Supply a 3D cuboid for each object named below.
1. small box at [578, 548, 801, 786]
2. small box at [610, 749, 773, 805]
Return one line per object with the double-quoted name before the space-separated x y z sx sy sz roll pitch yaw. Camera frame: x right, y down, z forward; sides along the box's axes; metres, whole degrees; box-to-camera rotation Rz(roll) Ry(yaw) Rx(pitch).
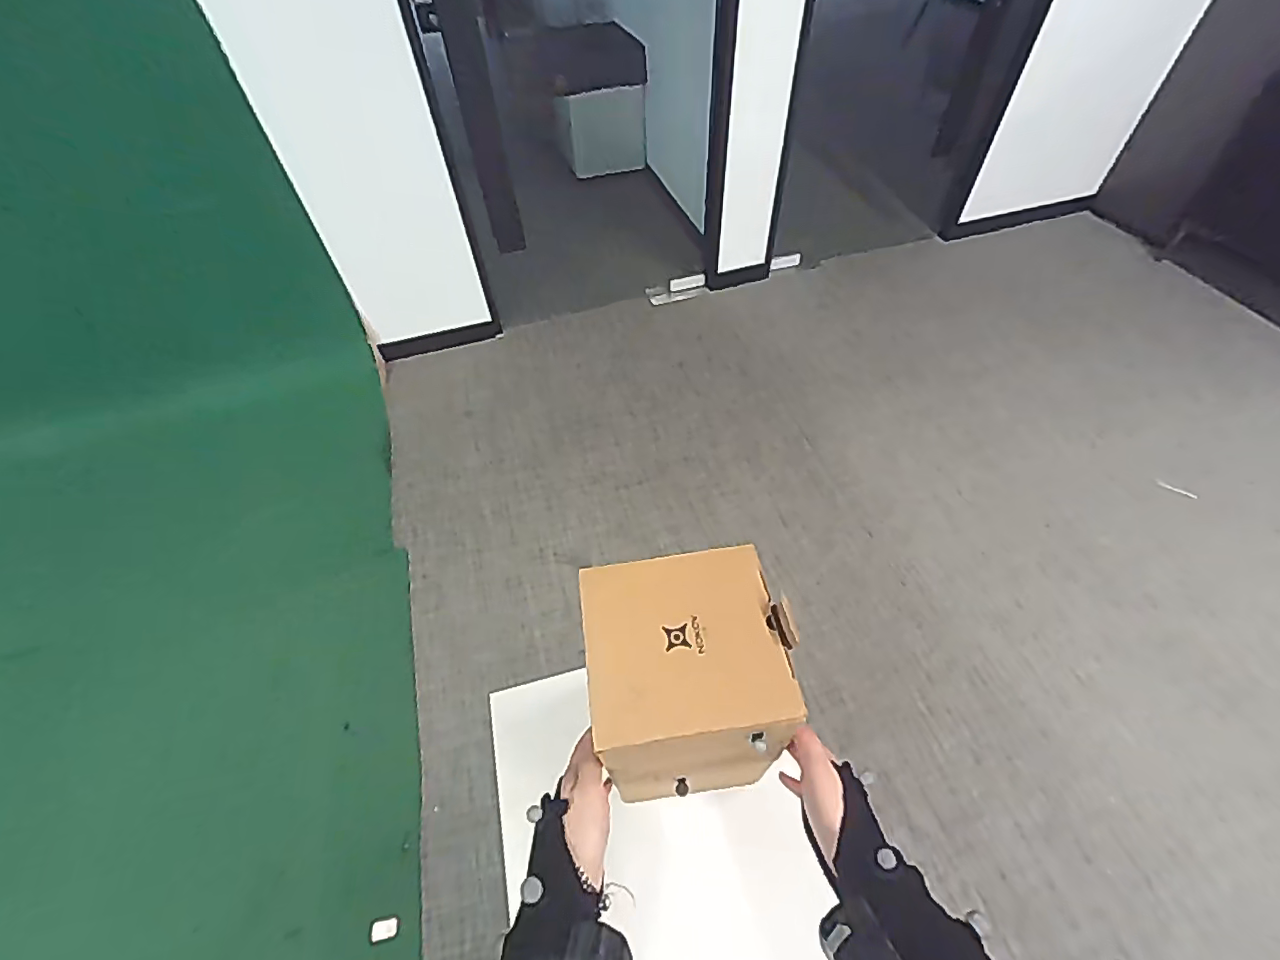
"small box" 0.040 0.191 0.542 0.179 0.176 0.168 -8 51 -3
"small box" 0.050 0.290 0.672 0.179 0.176 0.168 -7 52 -3
